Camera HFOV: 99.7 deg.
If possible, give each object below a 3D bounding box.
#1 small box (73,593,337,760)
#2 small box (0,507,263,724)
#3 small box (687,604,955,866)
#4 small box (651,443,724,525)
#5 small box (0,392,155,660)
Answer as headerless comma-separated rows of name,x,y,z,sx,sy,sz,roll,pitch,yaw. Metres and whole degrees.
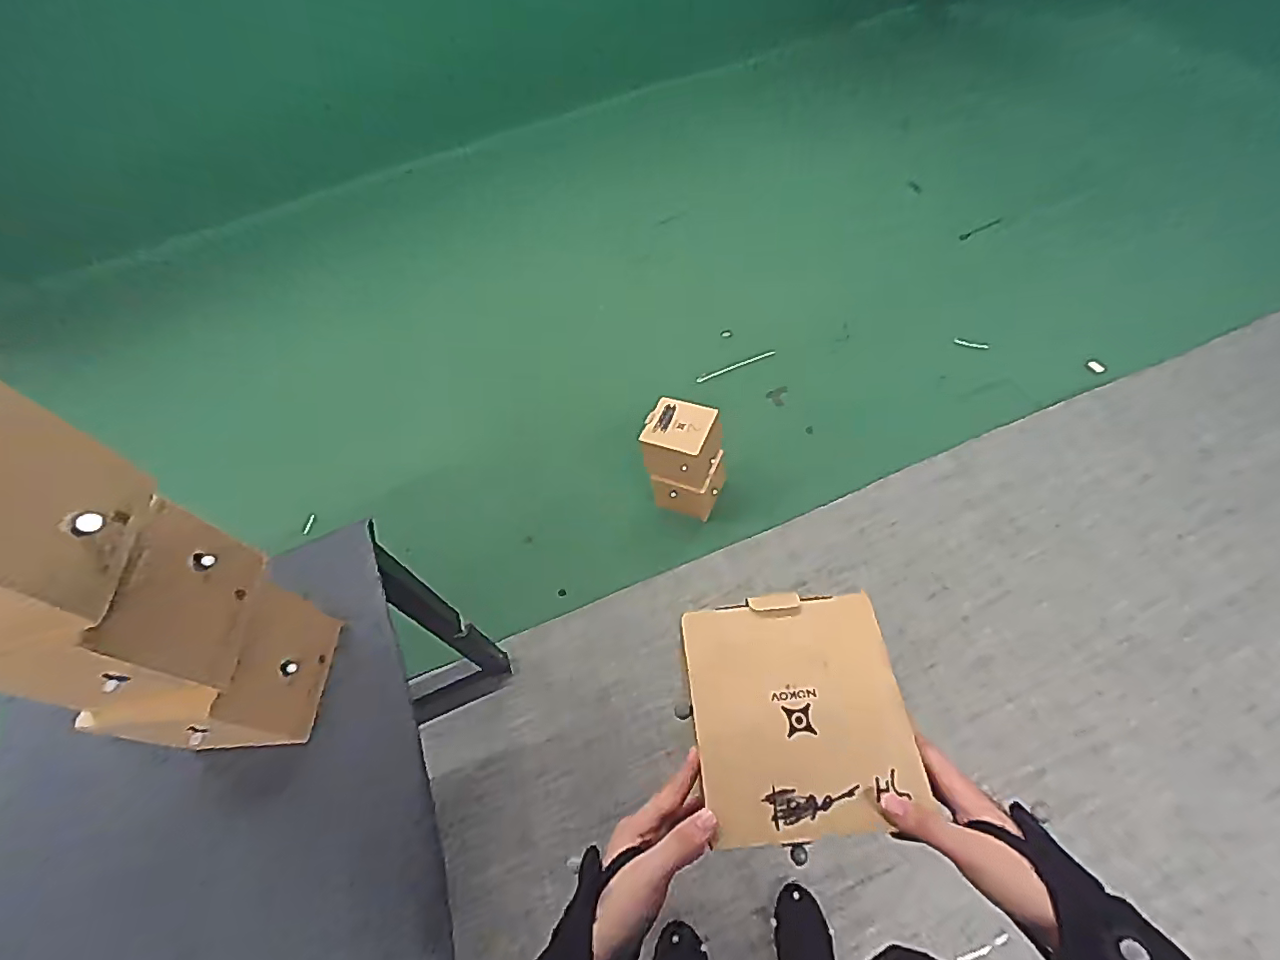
small box,-0.536,0.259,0.701,0.179,0.176,0.168,-7,54,8
small box,-0.559,0.150,0.582,0.179,0.176,0.168,-11,53,5
small box,0.135,0.228,0.486,0.168,0.176,0.179,-6,59,0
small box,0.152,0.016,1.656,0.179,0.176,0.168,16,60,20
small box,-0.581,0.050,0.453,0.179,0.176,0.168,-16,54,0
